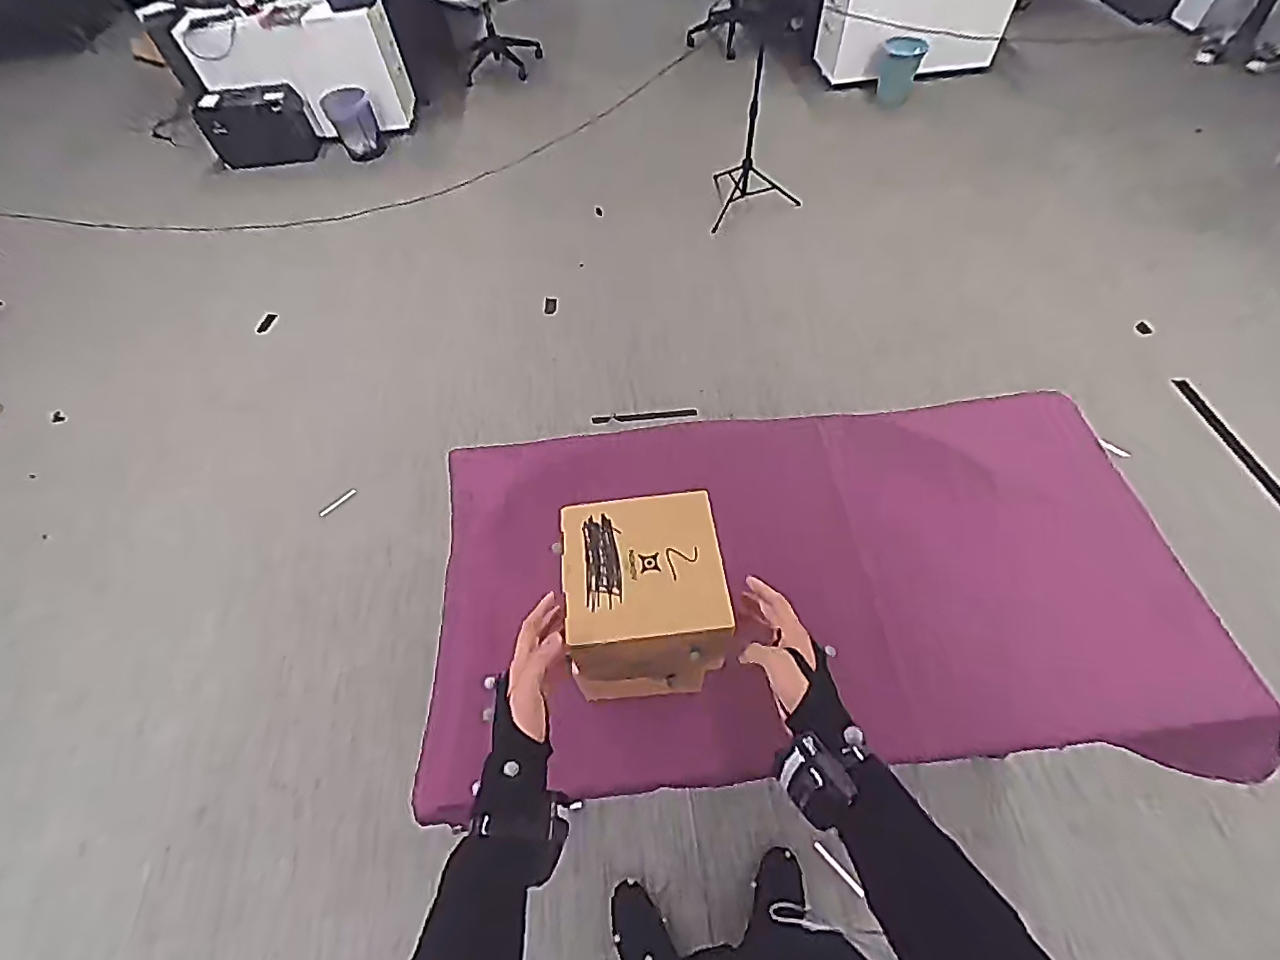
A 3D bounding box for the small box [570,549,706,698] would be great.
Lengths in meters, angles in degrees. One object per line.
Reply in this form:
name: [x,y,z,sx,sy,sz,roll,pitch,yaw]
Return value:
small box: [-0.005,0.214,0.795,0.179,0.176,0.168,-5,57,0]
